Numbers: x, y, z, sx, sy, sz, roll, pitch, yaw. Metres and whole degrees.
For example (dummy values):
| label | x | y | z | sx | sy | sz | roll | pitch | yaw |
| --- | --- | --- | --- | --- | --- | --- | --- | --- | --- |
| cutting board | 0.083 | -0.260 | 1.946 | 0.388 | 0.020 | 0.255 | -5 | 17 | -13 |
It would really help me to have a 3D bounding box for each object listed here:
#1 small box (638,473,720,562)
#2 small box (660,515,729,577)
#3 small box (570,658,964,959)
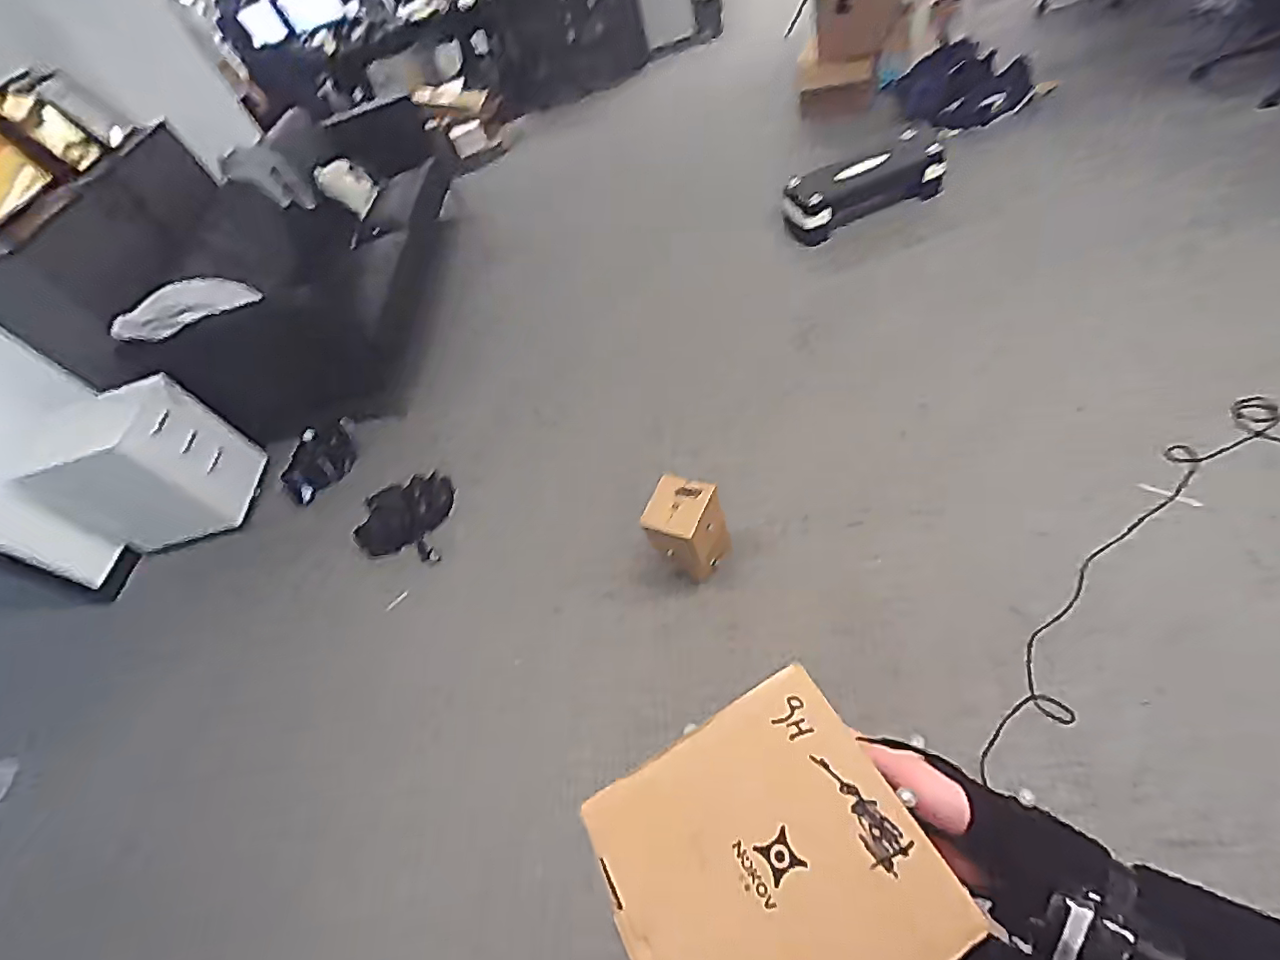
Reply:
| label | x | y | z | sx | sy | sz | roll | pitch | yaw |
| --- | --- | --- | --- | --- | --- | --- | --- | --- | --- |
| small box | 0.121 | 0.109 | 1.560 | 0.168 | 0.176 | 0.179 | 14 | 63 | 28 |
| small box | 0.159 | 0.181 | 1.706 | 0.179 | 0.176 | 0.168 | 28 | 69 | 32 |
| small box | 0.078 | 0.259 | 0.388 | 0.179 | 0.176 | 0.168 | -29 | 60 | -7 |
